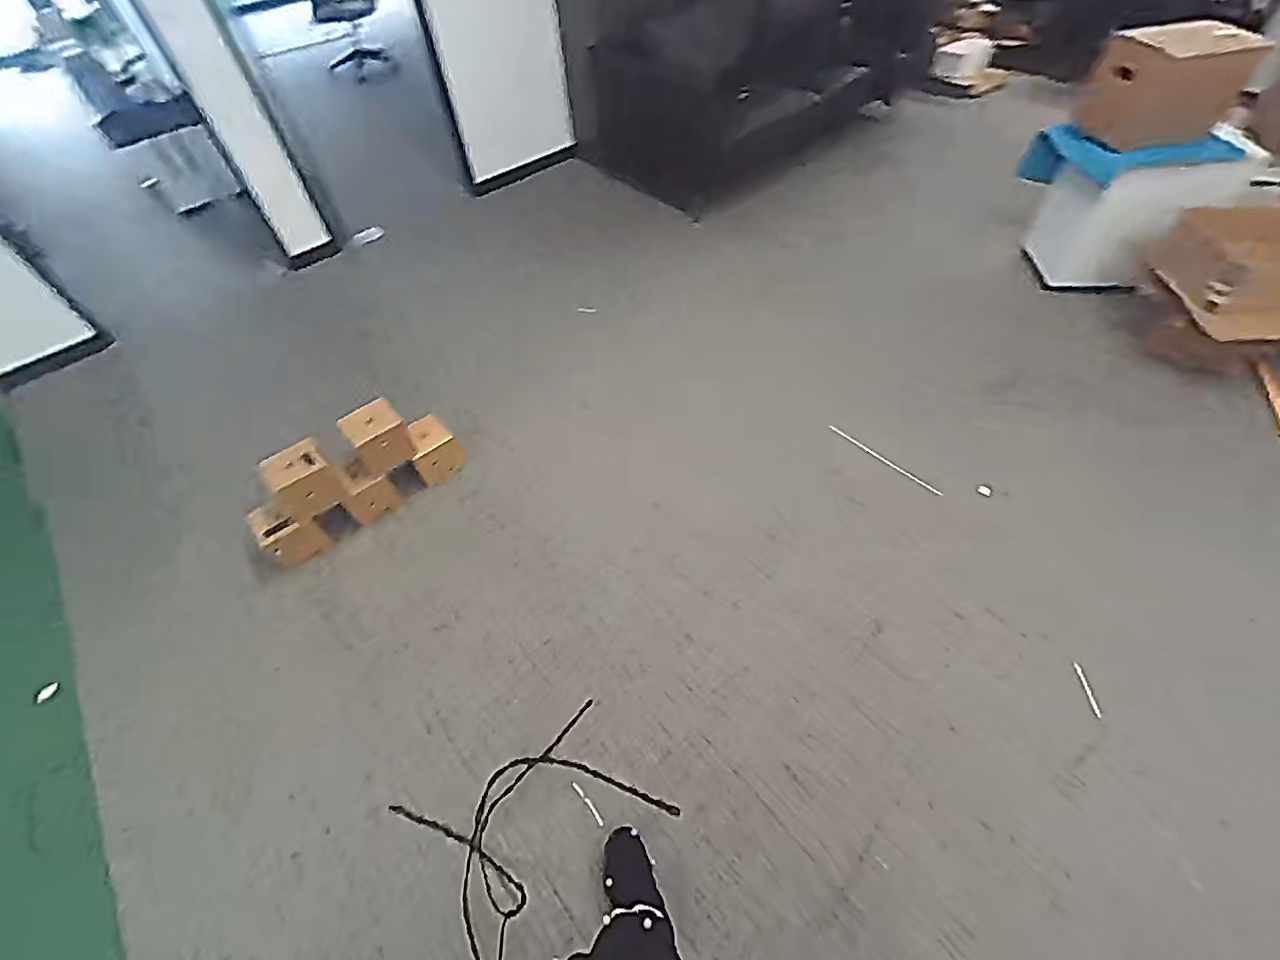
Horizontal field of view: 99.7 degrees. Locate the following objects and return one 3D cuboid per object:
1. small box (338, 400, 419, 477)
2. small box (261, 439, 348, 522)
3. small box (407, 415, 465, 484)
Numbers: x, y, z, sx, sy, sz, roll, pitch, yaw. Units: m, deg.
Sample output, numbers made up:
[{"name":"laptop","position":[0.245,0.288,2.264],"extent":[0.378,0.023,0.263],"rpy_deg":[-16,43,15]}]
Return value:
[{"name":"small box","position":[-0.912,-0.141,1.896],"extent":[0.179,0.176,0.168],"rpy_deg":[-36,58,-25]},{"name":"small box","position":[-1.100,0.004,1.791],"extent":[0.179,0.176,0.168],"rpy_deg":[-34,57,-20]},{"name":"small box","position":[-0.798,-0.109,2.072],"extent":[0.168,0.176,0.179],"rpy_deg":[-35,58,-22]}]
